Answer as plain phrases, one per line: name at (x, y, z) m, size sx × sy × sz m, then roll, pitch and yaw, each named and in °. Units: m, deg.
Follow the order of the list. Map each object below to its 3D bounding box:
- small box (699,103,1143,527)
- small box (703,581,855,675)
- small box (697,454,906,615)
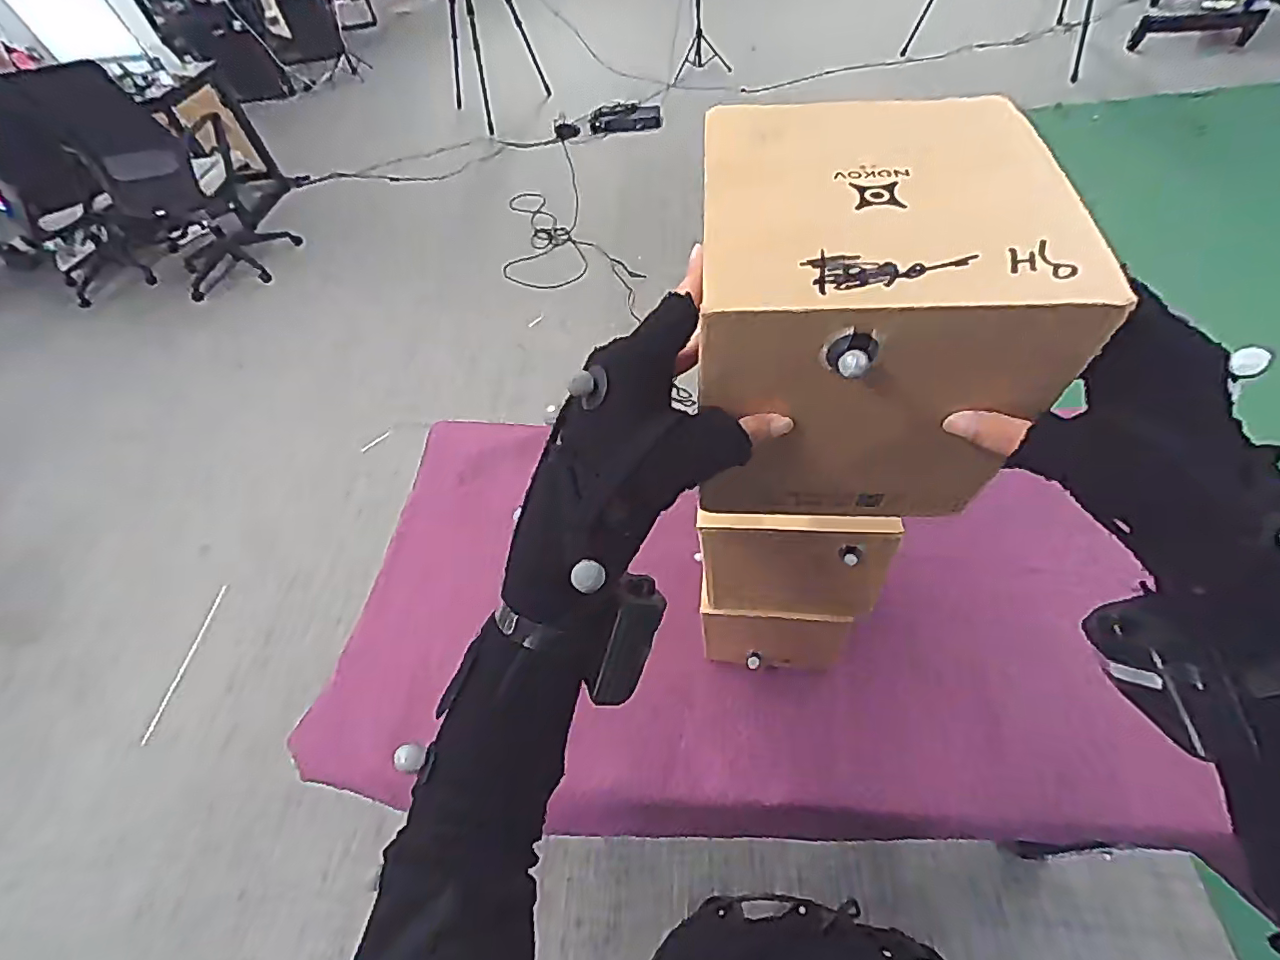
small box at (0.120, -0.091, 0.323) m, size 0.168 × 0.176 × 0.179 m, roll 1°, pitch 57°, yaw 7°
small box at (0.171, 0.131, 0.698) m, size 0.168 × 0.176 × 0.179 m, roll 1°, pitch 54°, yaw 11°
small box at (0.156, 0.031, 0.571) m, size 0.179 × 0.176 × 0.168 m, roll 1°, pitch 53°, yaw 10°
